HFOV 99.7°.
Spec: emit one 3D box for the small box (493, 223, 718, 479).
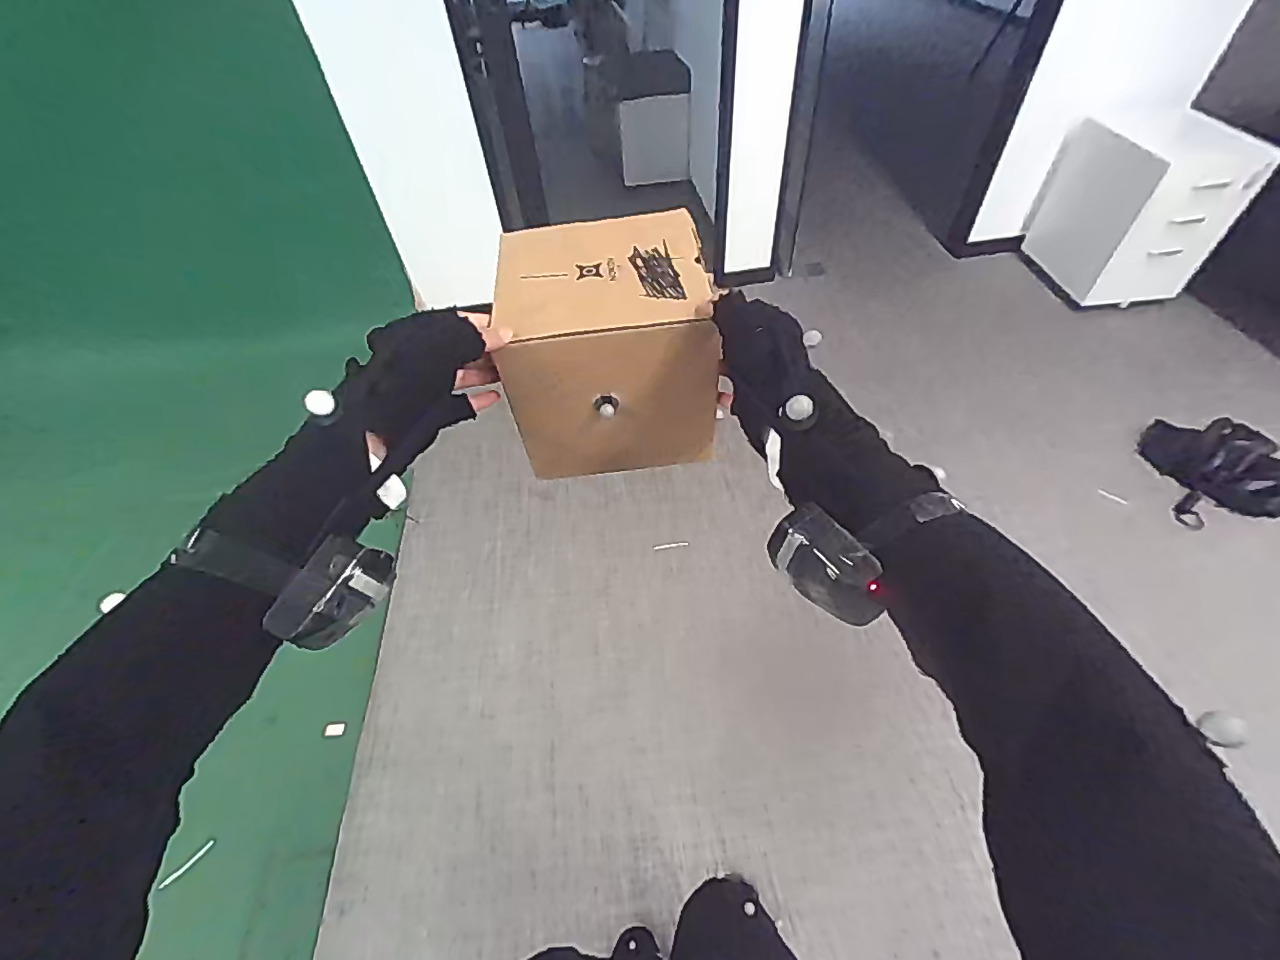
[{"bbox_3d":[-0.028,-0.119,0.524,0.179,0.176,0.168,-7,51,0],"label":"small box"}]
